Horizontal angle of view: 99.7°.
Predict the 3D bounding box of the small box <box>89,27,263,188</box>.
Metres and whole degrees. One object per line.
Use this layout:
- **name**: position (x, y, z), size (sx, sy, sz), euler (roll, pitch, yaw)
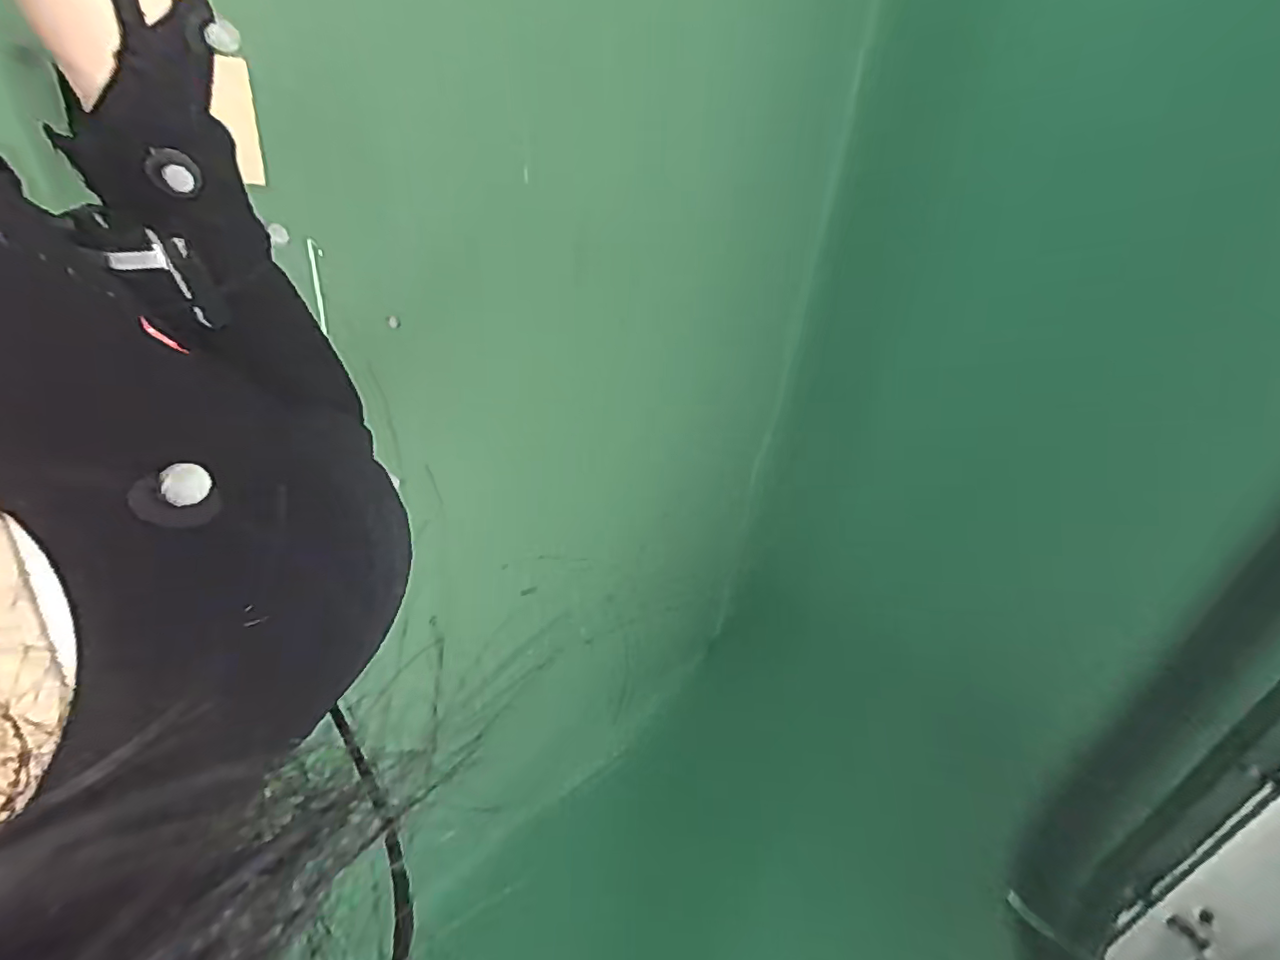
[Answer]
- **small box**: position (-0.732, -0.579, 0.858), size (0.168, 0.176, 0.179), euler (-19, 128, -42)
